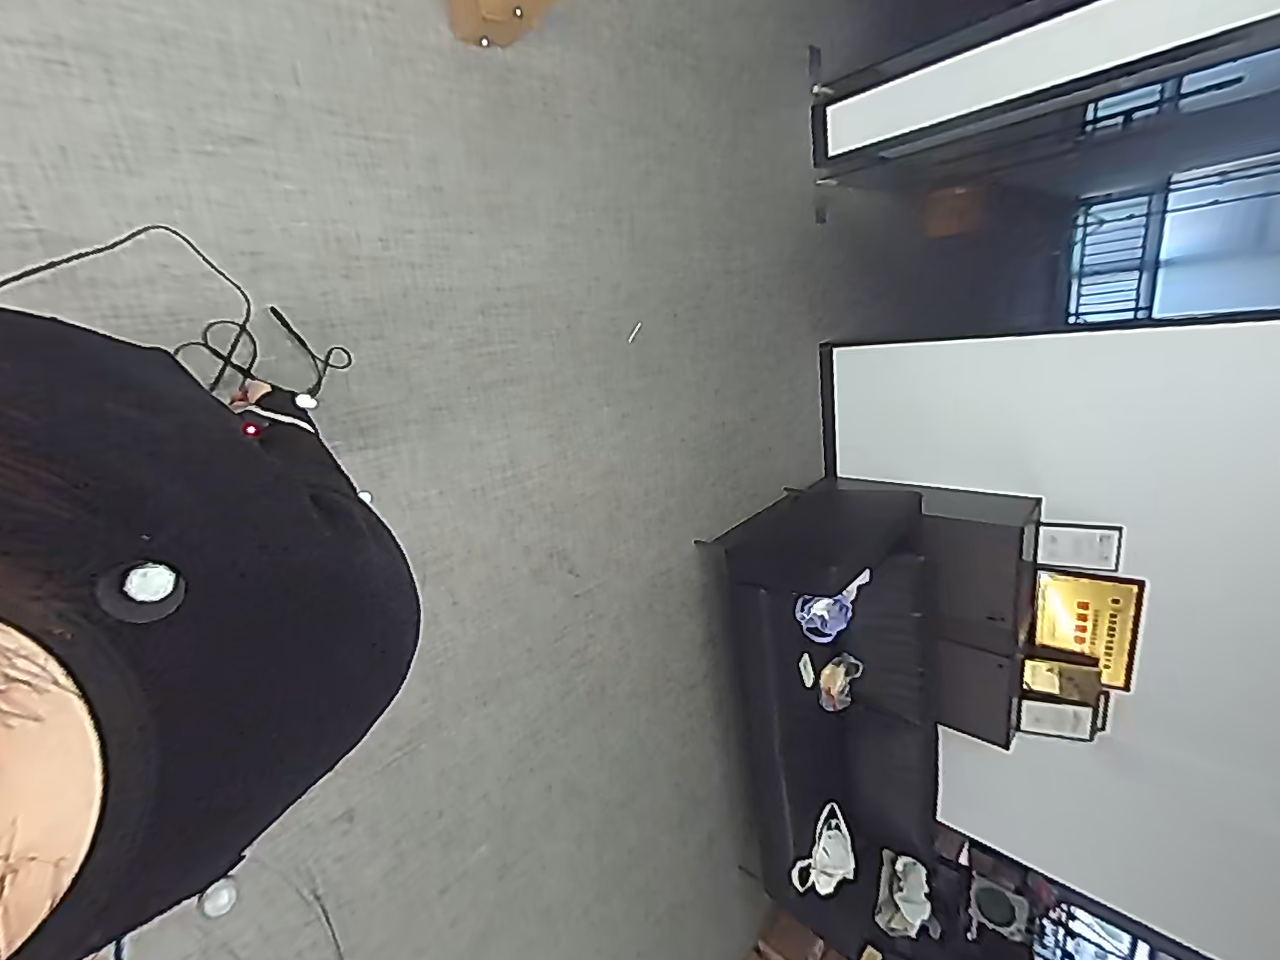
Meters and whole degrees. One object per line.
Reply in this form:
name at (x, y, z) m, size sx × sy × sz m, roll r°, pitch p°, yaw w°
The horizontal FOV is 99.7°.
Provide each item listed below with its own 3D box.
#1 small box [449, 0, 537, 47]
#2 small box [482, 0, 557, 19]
small box at (-0.407, -1.315, 1.454) m, size 0.168 × 0.176 × 0.179 m, roll -26°, pitch 116°, yaw -38°
small box at (-0.304, -1.286, 1.331) m, size 0.168 × 0.176 × 0.179 m, roll -32°, pitch 119°, yaw -36°
